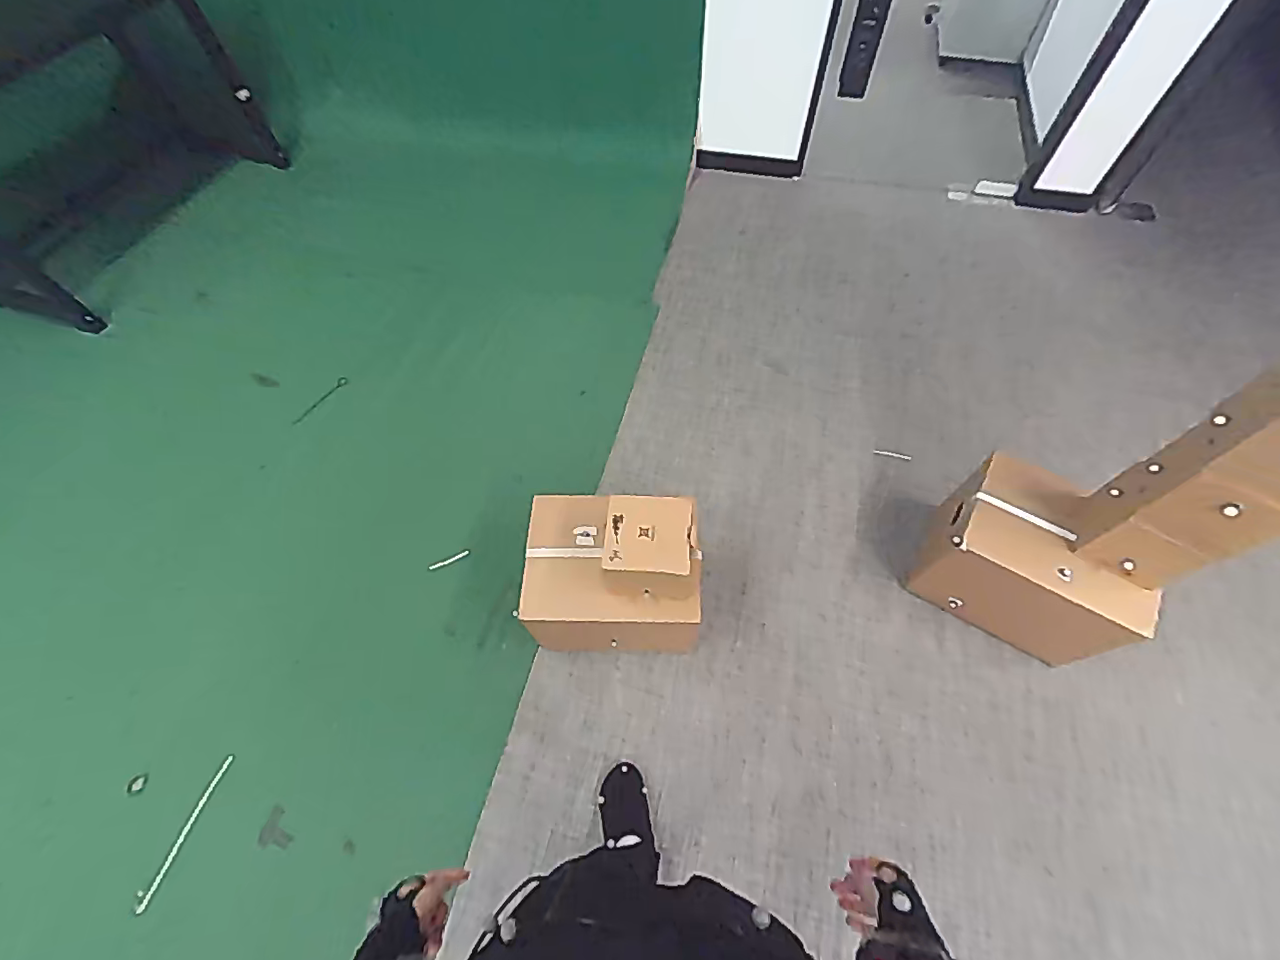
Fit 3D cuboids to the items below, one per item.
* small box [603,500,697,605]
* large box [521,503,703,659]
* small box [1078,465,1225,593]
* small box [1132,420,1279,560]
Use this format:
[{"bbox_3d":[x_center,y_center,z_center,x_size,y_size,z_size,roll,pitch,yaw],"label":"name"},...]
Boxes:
[{"bbox_3d":[0.023,0.159,1.147,0.179,0.176,0.168,4,60,4],"label":"small box"},{"bbox_3d":[-0.054,0.268,1.372,0.408,0.320,0.320,-1,58,3],"label":"large box"},{"bbox_3d":[1.081,0.108,1.148,0.168,0.176,0.179,29,63,18],"label":"small box"},{"bbox_3d":[1.086,0.027,1.008,0.179,0.176,0.168,30,63,19],"label":"small box"}]
